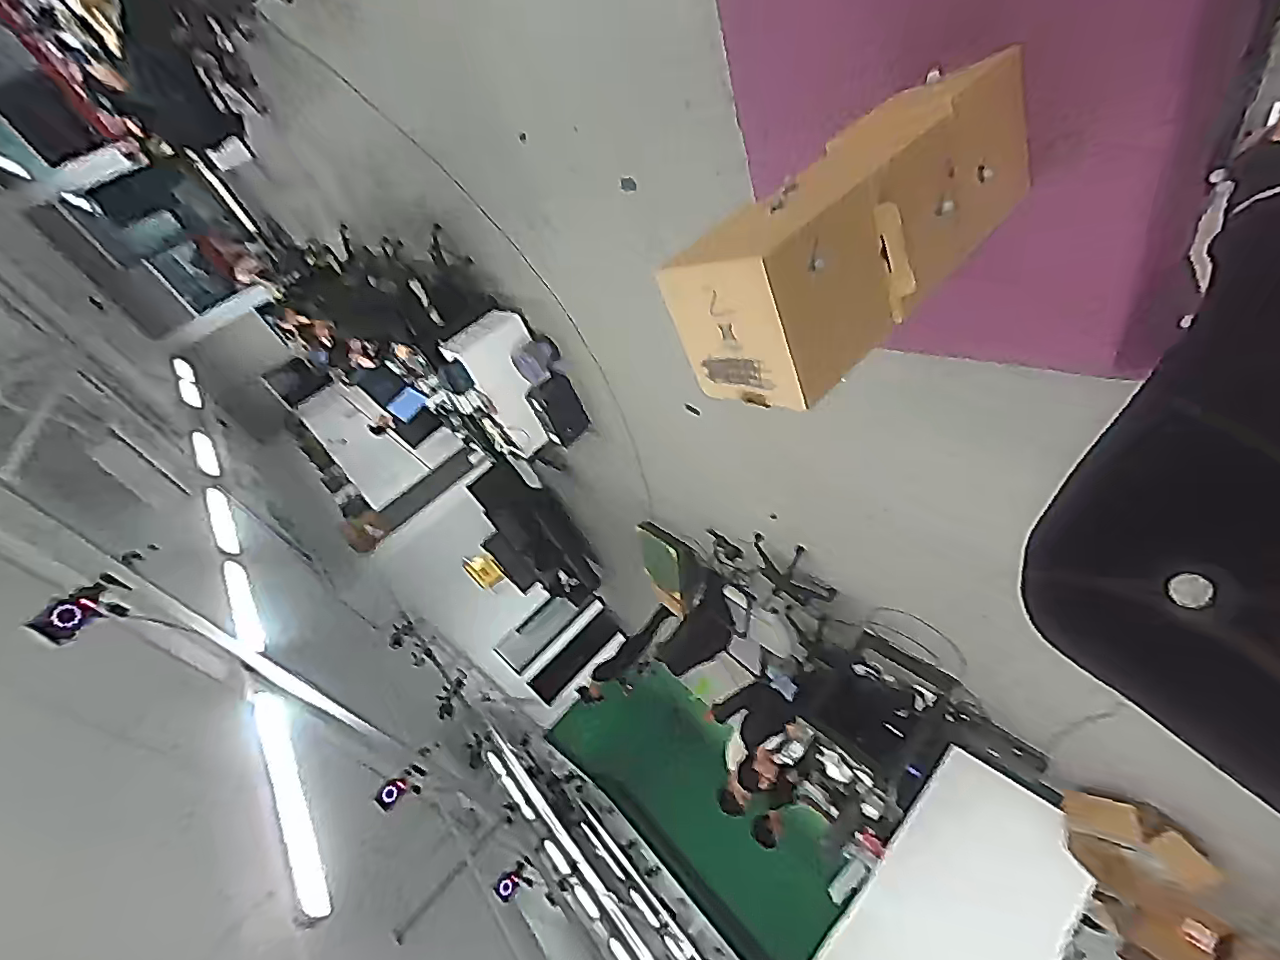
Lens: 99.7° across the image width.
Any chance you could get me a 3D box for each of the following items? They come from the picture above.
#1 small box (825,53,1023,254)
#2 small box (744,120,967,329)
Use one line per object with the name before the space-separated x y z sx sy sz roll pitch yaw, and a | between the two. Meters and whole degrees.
small box | 0.384 -0.417 0.724 0.168 0.176 0.179 18 144 53
small box | 0.270 -0.308 0.677 0.179 0.176 0.168 17 145 54
